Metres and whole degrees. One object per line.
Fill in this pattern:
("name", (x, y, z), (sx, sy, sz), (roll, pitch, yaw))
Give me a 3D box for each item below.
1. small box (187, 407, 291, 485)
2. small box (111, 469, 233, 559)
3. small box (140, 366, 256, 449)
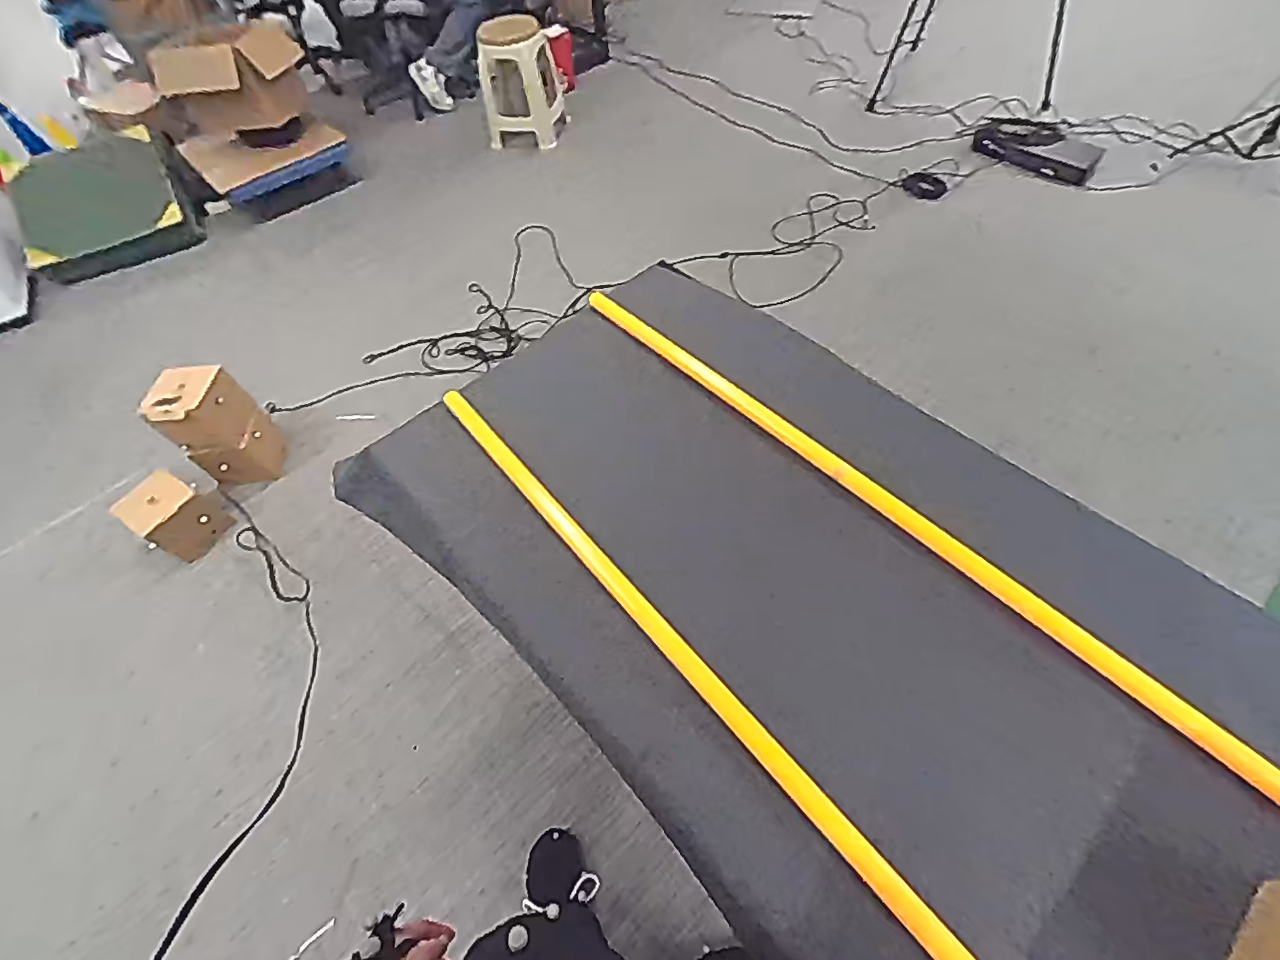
("small box", (-1.237, -0.100, 1.681), (0.179, 0.176, 0.168), (-8, 56, -1))
("small box", (-1.334, 0.105, 1.556), (0.179, 0.176, 0.168), (25, 61, 20))
("small box", (-1.252, -0.200, 1.550), (0.168, 0.176, 0.179), (-3, 55, 1))
